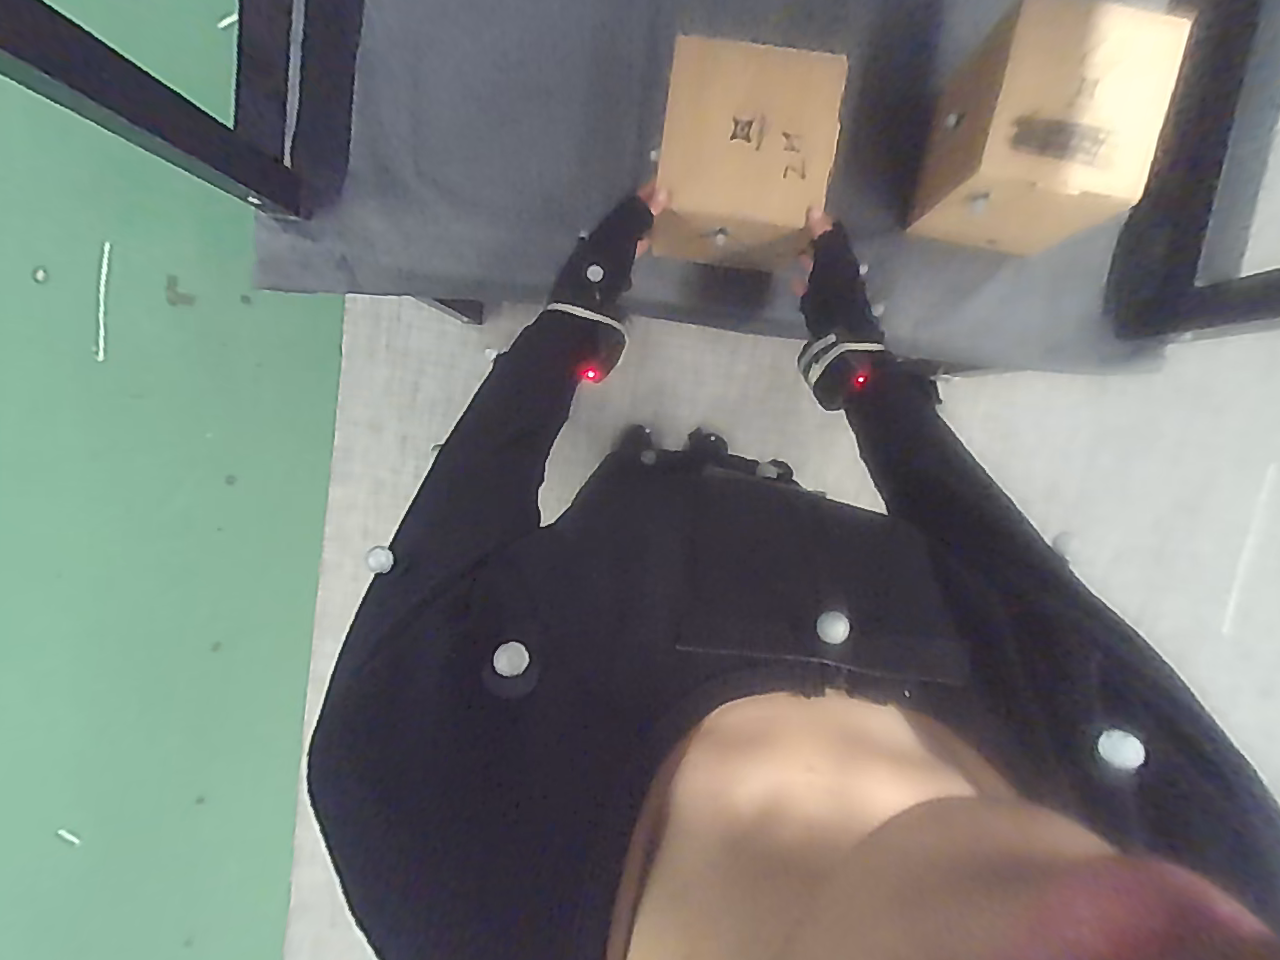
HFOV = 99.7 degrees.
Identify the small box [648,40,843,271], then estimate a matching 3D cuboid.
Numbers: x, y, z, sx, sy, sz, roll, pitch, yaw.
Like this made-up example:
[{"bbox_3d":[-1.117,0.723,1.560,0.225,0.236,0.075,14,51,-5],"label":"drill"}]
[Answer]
[{"bbox_3d":[0.108,-0.355,0.626,0.179,0.176,0.168,8,97,0],"label":"small box"}]
